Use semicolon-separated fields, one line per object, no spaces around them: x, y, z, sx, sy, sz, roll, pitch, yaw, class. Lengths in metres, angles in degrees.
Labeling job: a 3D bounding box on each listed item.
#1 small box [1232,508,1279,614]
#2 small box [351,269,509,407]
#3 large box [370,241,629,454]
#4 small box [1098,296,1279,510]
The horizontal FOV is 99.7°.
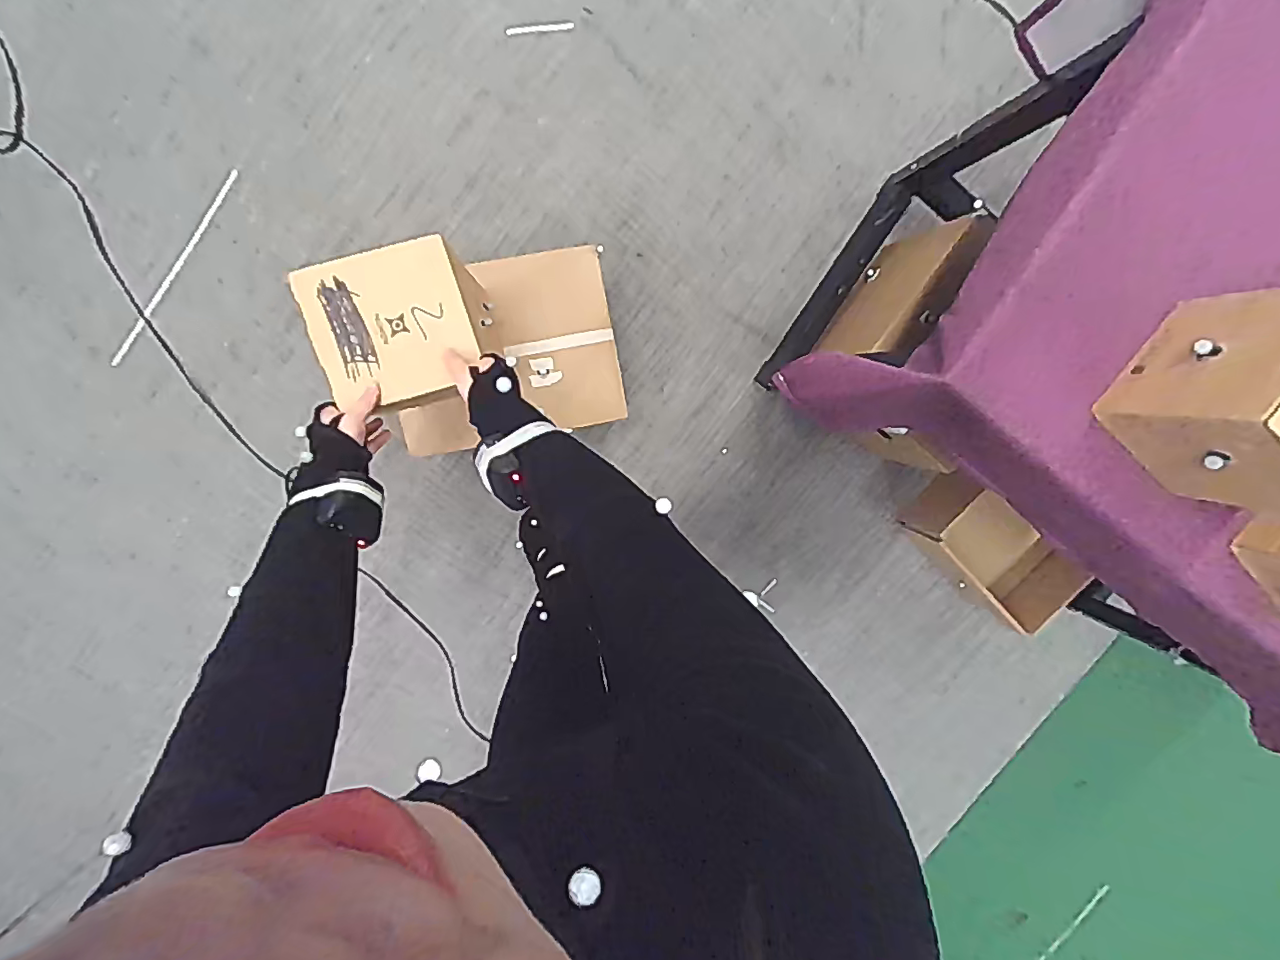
0.898;0.091;0.647;0.168;0.176;0.179;42;94;-13;small box
-0.313;-0.218;0.853;0.179;0.176;0.168;-15;101;-4;small box
-0.260;-0.260;1.104;0.408;0.320;0.320;-12;103;-6;large box
0.662;-0.079;0.581;0.179;0.176;0.168;37;95;-12;small box
